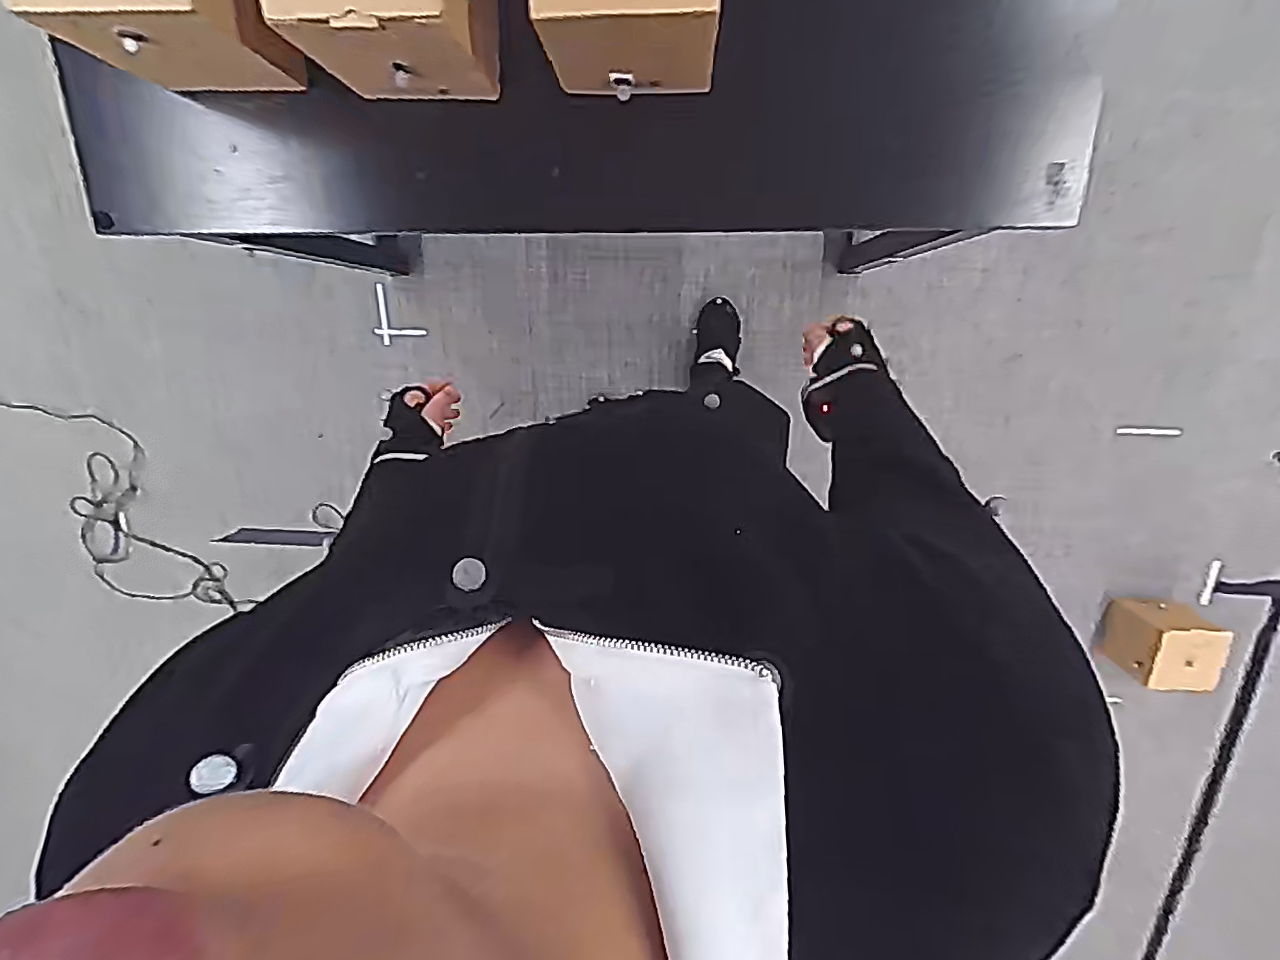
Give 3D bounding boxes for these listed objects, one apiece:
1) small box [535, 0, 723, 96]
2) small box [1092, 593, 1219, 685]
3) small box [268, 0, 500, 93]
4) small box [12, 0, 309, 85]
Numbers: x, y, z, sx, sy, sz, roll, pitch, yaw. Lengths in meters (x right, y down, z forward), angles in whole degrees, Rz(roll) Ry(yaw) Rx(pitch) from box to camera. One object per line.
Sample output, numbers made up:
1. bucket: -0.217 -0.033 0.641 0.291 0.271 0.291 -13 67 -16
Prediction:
1. small box: -0.005 -0.507 0.524 0.168 0.176 0.179 1 106 4
2. small box: 1.387 0.430 1.471 0.168 0.176 0.179 1 106 3
3. small box: -0.243 -0.512 0.534 0.168 0.176 0.179 3 106 3
4. small box: -0.475 -0.524 0.541 0.179 0.176 0.168 1 106 2
